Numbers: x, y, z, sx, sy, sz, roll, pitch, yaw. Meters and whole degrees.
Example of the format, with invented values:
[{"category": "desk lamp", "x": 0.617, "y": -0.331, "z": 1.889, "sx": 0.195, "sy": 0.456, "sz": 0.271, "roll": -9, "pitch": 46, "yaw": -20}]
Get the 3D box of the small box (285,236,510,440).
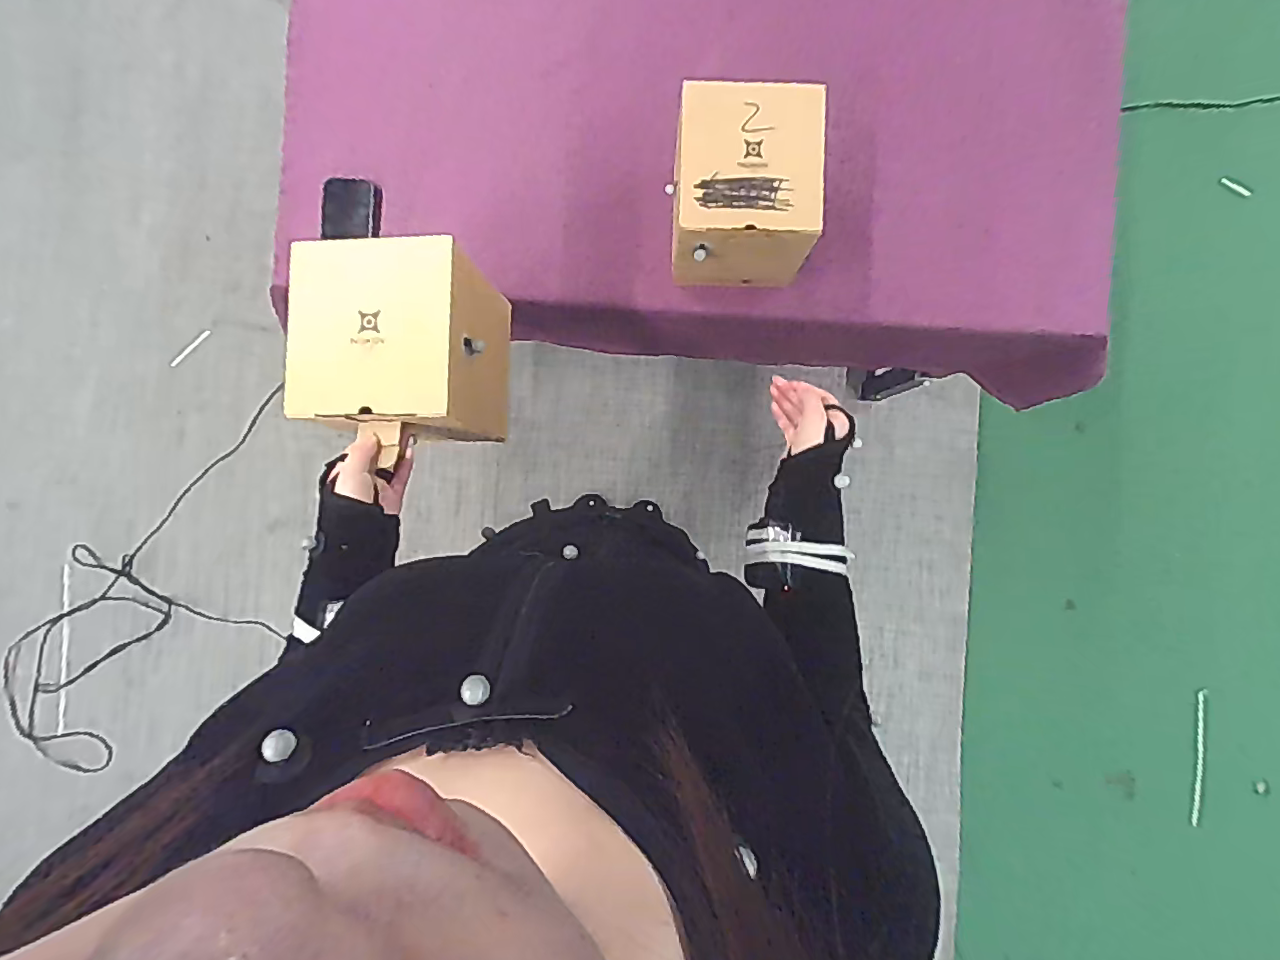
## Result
[{"category": "small box", "x": -0.248, "y": -0.143, "z": 0.593, "sx": 0.168, "sy": 0.176, "sz": 0.179, "roll": 1, "pitch": 88, "yaw": 4}]
